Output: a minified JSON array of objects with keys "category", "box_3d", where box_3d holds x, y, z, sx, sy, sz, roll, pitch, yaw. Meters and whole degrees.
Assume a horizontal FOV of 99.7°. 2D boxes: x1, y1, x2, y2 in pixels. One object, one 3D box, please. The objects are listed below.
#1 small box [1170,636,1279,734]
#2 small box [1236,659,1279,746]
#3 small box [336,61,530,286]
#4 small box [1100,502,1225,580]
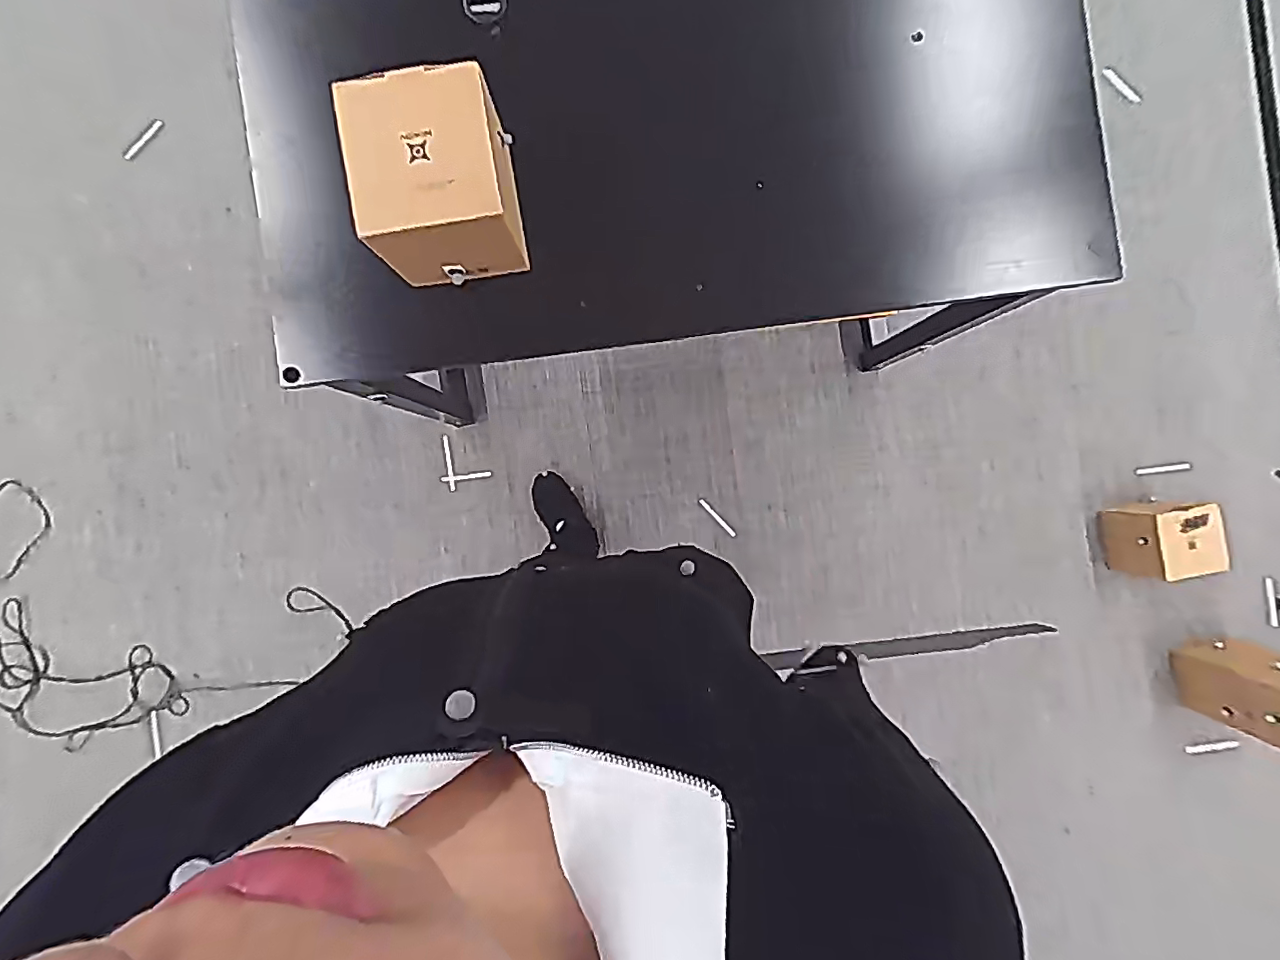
[{"category":"small box","box_3d":[1.594,0.542,1.450,0.168,0.176,0.179,-13,91,-1]},{"category":"small box","box_3d":[1.589,0.542,1.287,0.179,0.176,0.168,-15,91,0]},{"category":"small box","box_3d":[-0.245,-0.369,0.681,0.168,0.176,0.179,-10,91,0]},{"category":"small box","box_3d":[1.381,0.155,1.443,0.168,0.176,0.179,-10,91,-1]}]
